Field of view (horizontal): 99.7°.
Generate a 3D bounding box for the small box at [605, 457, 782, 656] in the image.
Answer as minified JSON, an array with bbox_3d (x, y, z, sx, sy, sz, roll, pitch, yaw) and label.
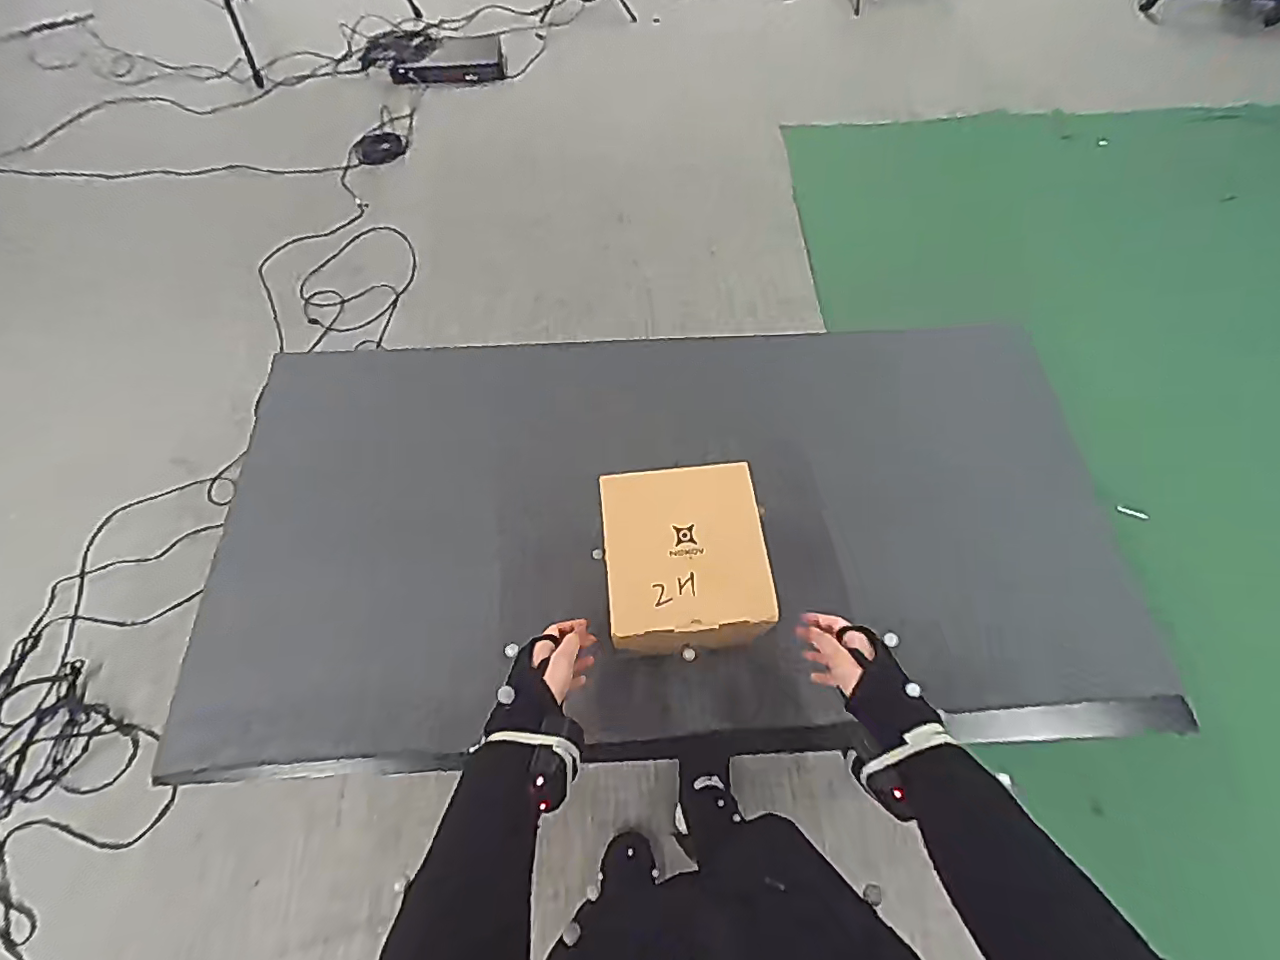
[{"bbox_3d":[0.048,0.094,0.623,0.168,0.176,0.179,-5,64,-2],"label":"small box"}]
